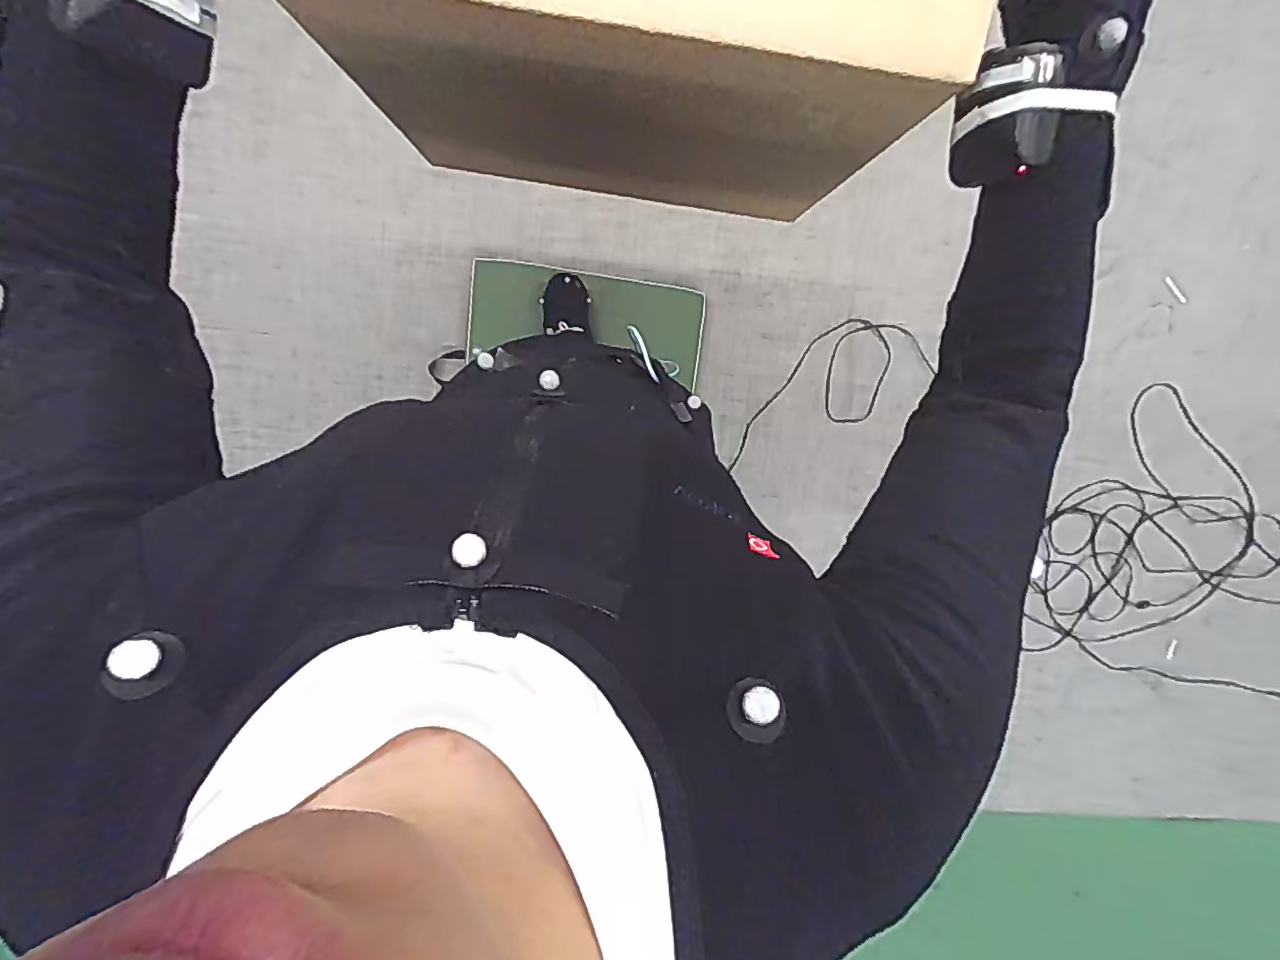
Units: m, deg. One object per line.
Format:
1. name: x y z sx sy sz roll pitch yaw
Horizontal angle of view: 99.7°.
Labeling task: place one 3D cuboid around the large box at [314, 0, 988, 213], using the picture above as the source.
1. large box: 0.006 -0.434 0.419 0.408 0.320 0.320 6 102 -5
